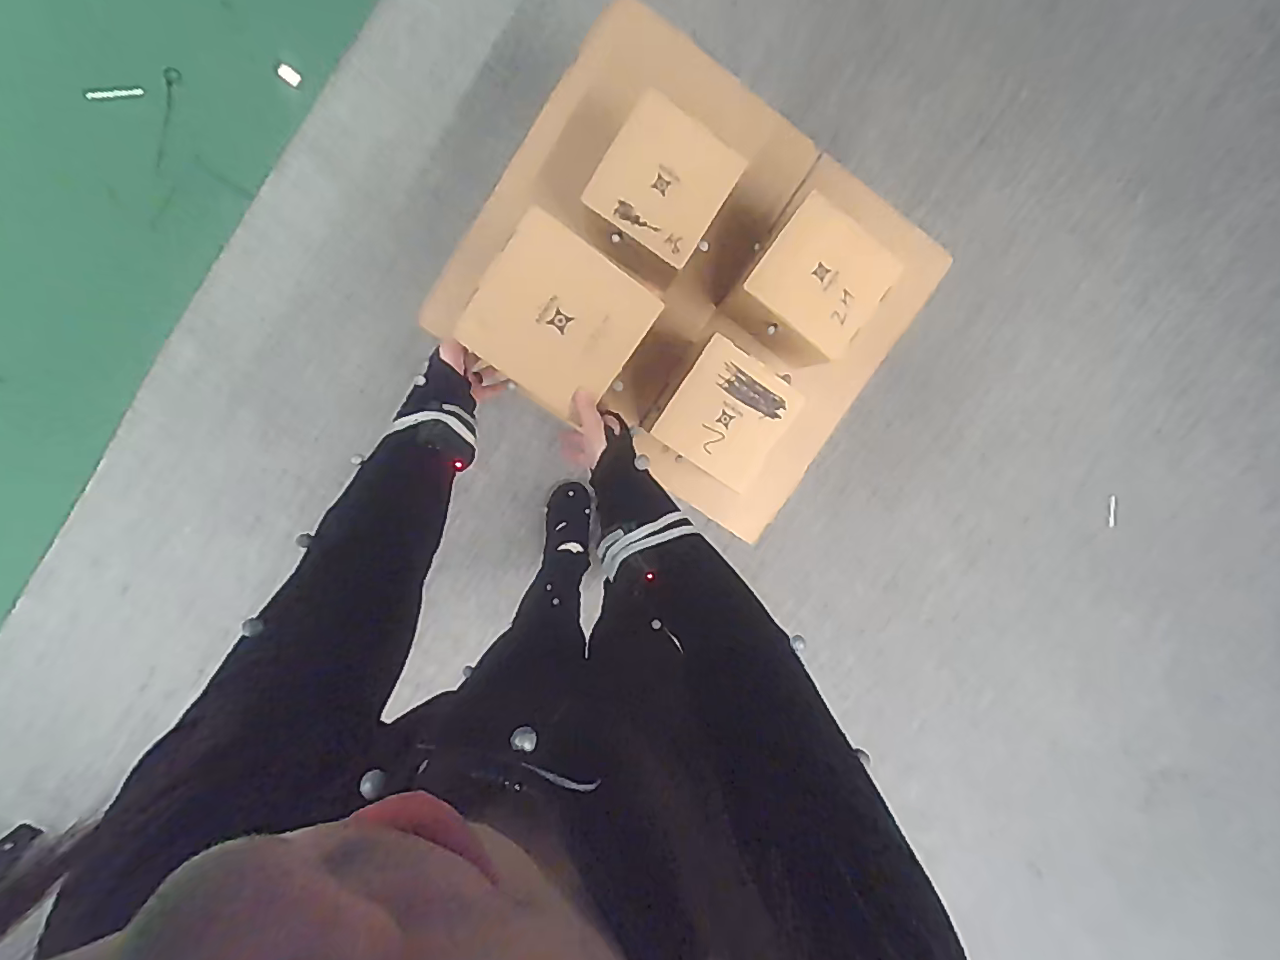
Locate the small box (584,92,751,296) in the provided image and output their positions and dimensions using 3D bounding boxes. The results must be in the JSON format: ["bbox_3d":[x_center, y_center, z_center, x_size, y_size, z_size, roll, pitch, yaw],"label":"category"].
[{"bbox_3d":[0.031,-0.404,0.799,0.168,0.176,0.179,33,94,-7],"label":"small box"}]

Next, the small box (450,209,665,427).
[{"bbox_3d":[-0.093,-0.182,0.660,0.179,0.176,0.168,36,96,-9],"label":"small box"}]
